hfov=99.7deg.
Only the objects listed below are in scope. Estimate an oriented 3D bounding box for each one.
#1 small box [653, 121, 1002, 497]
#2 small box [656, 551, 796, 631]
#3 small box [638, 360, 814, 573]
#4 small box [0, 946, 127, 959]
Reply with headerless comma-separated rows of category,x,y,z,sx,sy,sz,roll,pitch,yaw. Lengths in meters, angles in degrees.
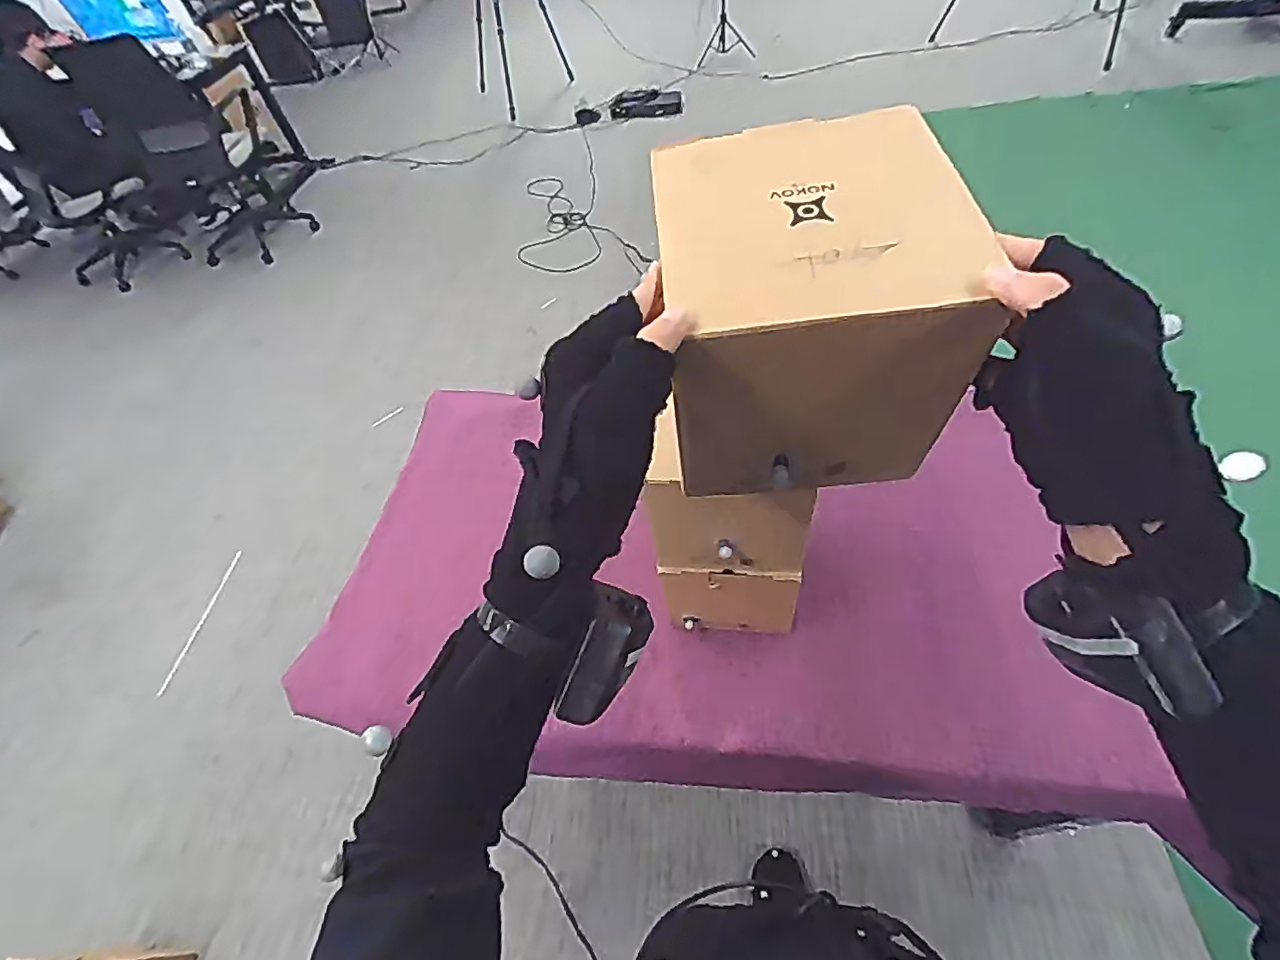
small box,0.099,-0.107,0.375,0.168,0.176,0.179,-5,59,5
small box,0.121,0.090,0.735,0.168,0.176,0.179,2,53,11
small box,0.099,-0.016,0.610,0.168,0.176,0.179,2,54,11
small box,-1.106,0.973,0.977,0.168,0.176,0.179,-1,52,9
